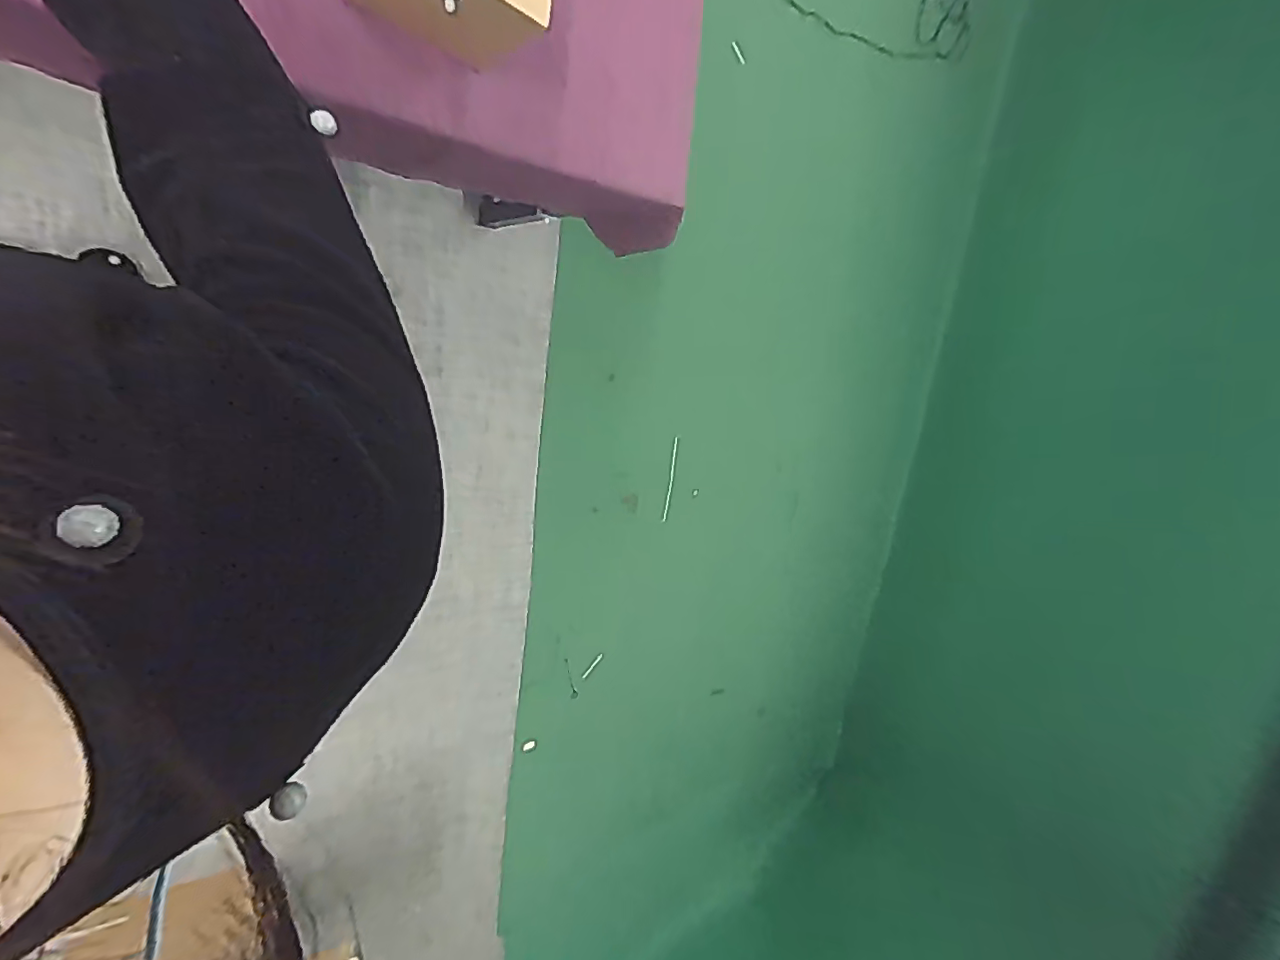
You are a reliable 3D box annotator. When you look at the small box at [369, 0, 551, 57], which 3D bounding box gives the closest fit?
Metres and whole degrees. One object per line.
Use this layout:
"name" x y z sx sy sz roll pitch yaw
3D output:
"small box" -0.205 -0.608 0.589 0.179 0.176 0.168 -1 106 -42
